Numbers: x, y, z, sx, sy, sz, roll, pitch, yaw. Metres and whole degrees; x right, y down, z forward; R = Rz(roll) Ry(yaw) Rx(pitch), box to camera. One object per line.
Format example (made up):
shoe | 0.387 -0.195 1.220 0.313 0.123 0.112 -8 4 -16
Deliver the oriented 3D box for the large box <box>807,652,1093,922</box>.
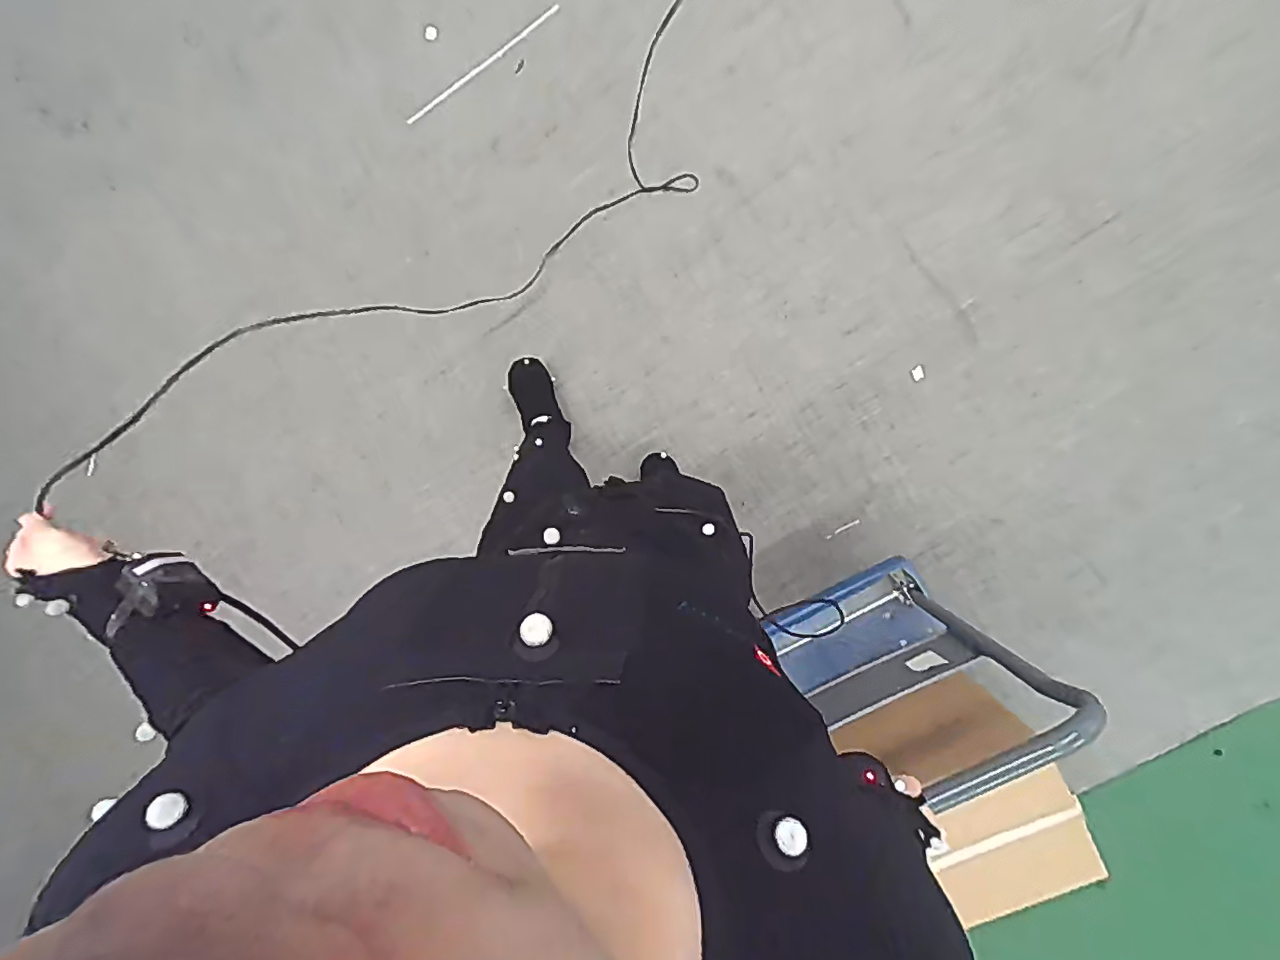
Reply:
large box | 0.652 0.656 1.208 0.408 0.320 0.320 -27 94 7
